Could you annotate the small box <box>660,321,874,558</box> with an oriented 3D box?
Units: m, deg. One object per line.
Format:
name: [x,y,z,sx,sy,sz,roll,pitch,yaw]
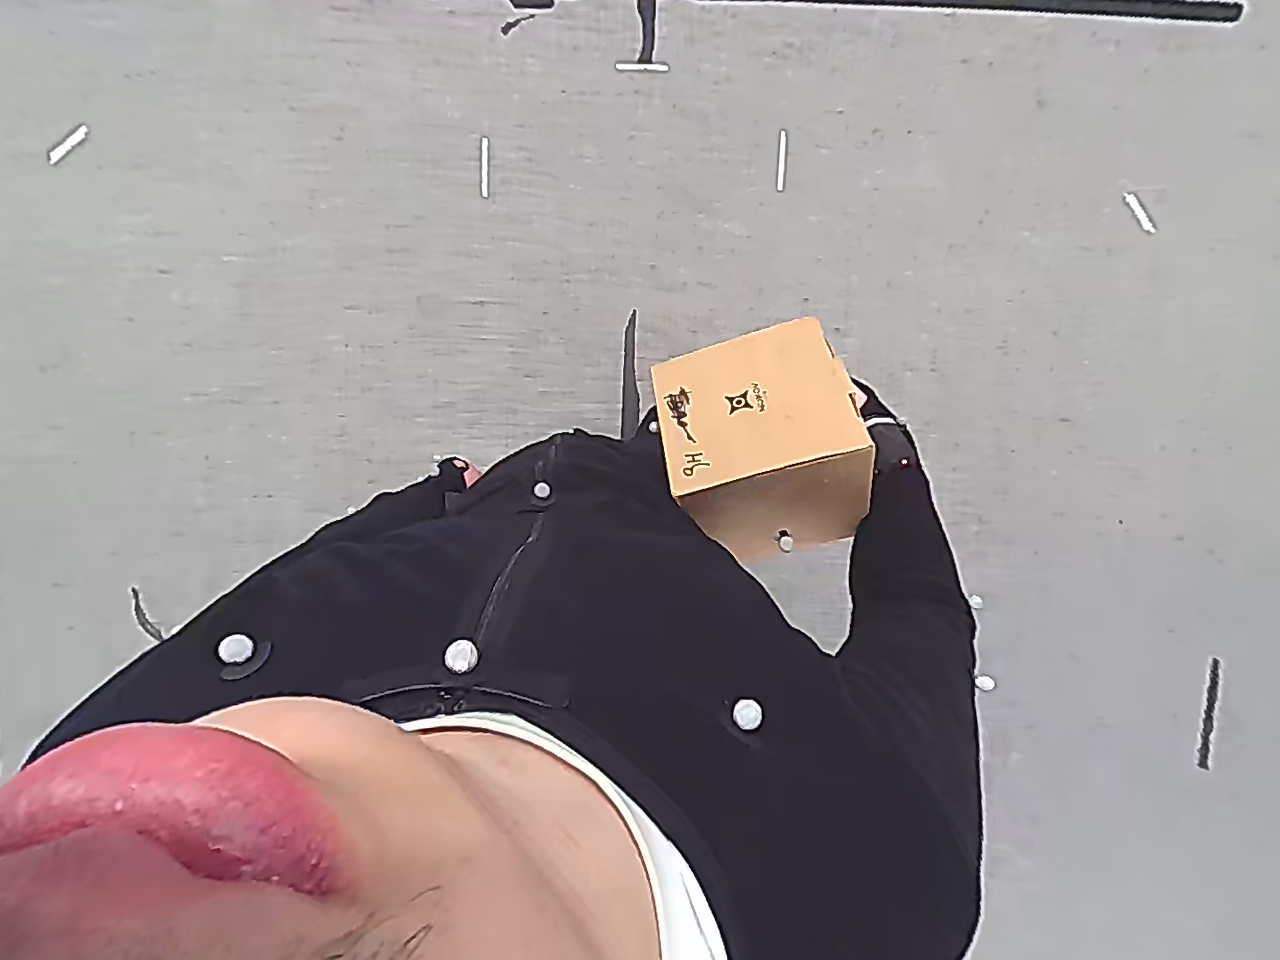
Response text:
small box: [0.133,-0.034,0.584,0.179,0.176,0.168,-14,54,11]
